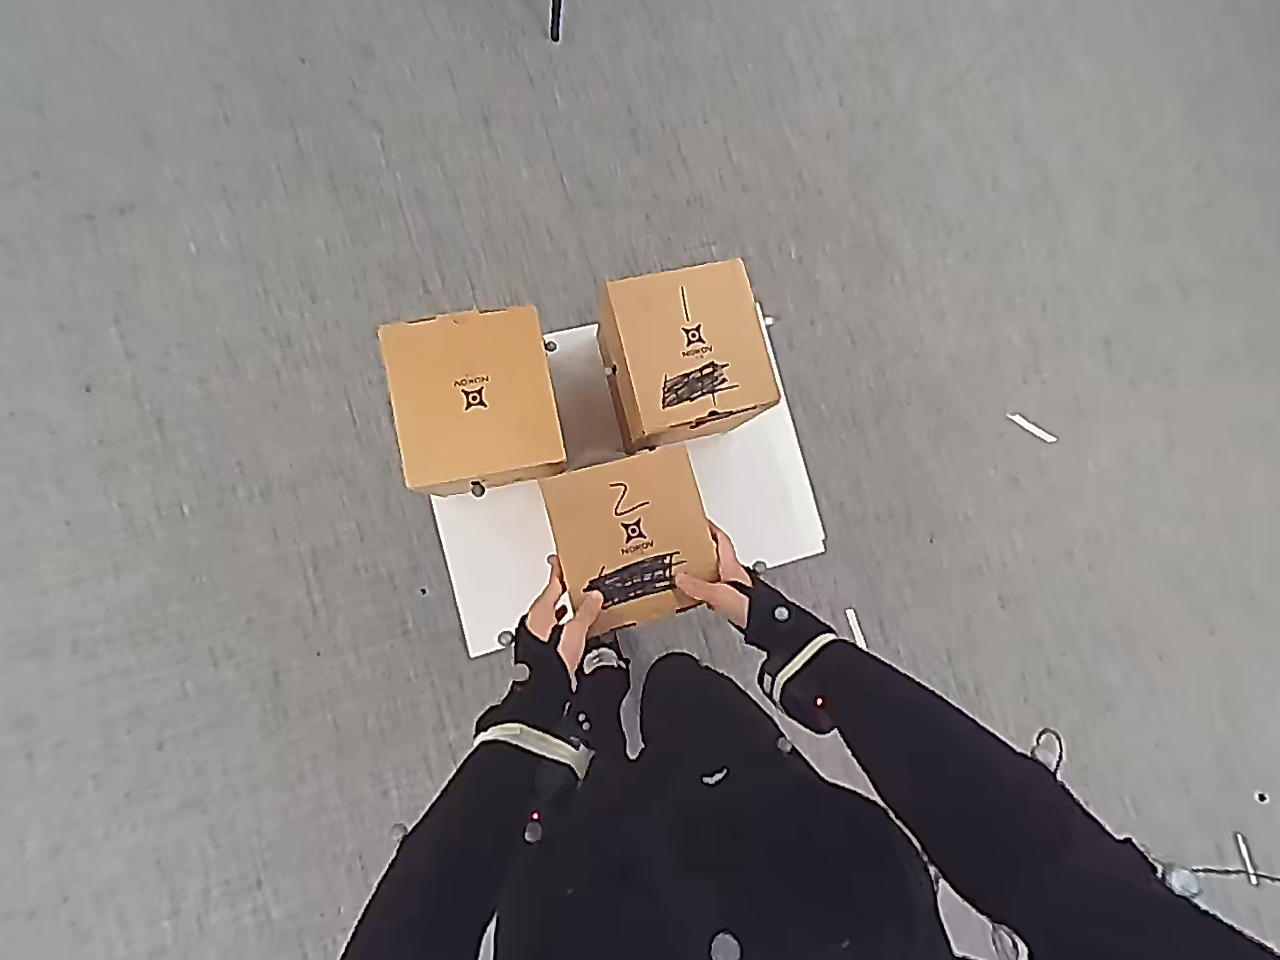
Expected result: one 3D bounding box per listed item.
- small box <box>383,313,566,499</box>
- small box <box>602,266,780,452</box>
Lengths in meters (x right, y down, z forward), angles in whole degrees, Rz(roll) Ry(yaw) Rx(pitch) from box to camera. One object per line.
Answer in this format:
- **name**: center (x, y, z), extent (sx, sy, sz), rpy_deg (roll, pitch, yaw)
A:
- **small box**: center (-0.183, -0.076, 0.647), extent (0.168, 0.176, 0.179), rpy_deg (-11, 86, -10)
- **small box**: center (0.052, -0.138, 0.686), extent (0.168, 0.176, 0.179), rpy_deg (-14, 86, -9)
